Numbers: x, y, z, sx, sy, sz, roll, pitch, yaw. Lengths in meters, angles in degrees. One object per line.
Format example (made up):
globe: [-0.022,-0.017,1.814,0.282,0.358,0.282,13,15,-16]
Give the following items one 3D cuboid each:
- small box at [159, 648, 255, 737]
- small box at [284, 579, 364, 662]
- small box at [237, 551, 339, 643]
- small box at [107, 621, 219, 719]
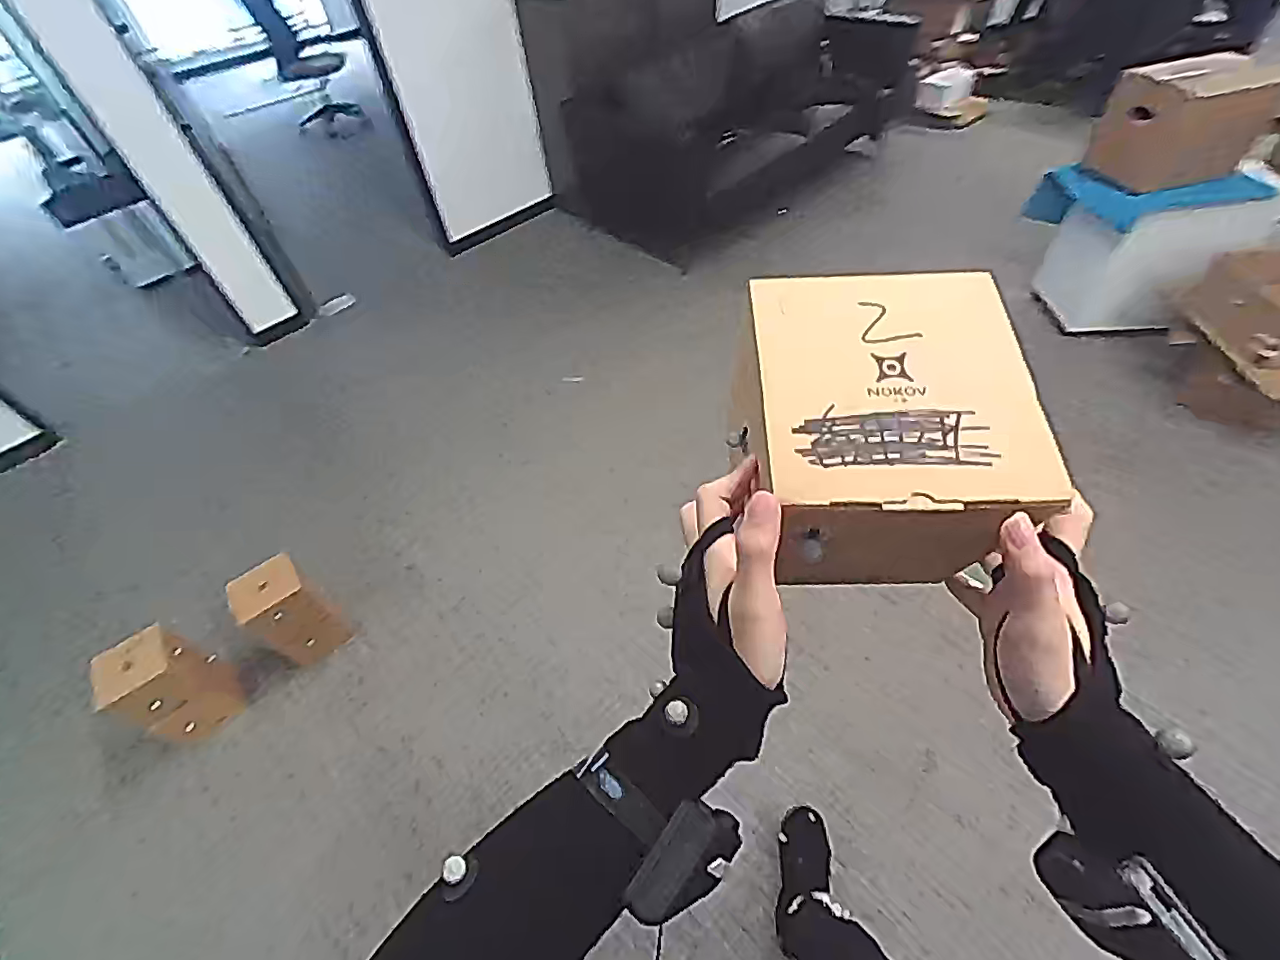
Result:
small box: [-1.297,0.640,1.619,0.168,0.176,0.179,-34,54,-20]
small box: [-1.036,0.452,1.743,0.179,0.176,0.168,-37,56,-21]
small box: [-1.043,0.353,1.612,0.179,0.176,0.168,-35,55,-21]
small box: [-1.310,0.532,1.494,0.168,0.176,0.179,-32,54,-20]
